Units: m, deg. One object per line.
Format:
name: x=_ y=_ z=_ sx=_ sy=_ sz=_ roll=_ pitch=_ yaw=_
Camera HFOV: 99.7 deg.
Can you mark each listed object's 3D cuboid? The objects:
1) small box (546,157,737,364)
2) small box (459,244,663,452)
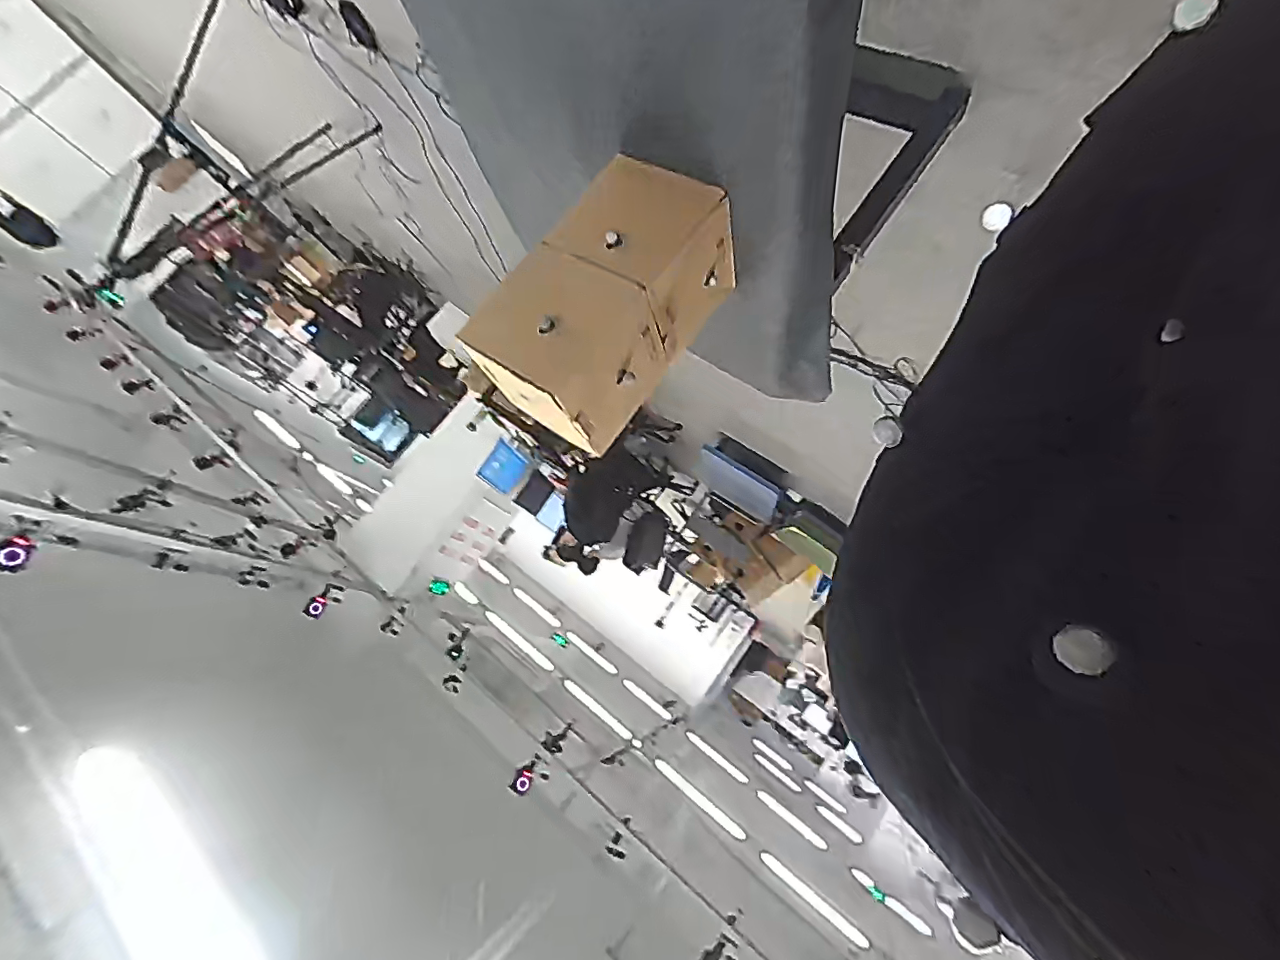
small box: x=0.011 y=-0.298 z=0.733 sx=0.179 sy=0.176 sz=0.168 roll=33 pitch=169 yaw=23
small box: x=-0.086 y=-0.171 z=0.699 sx=0.179 sy=0.176 sz=0.168 roll=32 pitch=168 yaw=24
